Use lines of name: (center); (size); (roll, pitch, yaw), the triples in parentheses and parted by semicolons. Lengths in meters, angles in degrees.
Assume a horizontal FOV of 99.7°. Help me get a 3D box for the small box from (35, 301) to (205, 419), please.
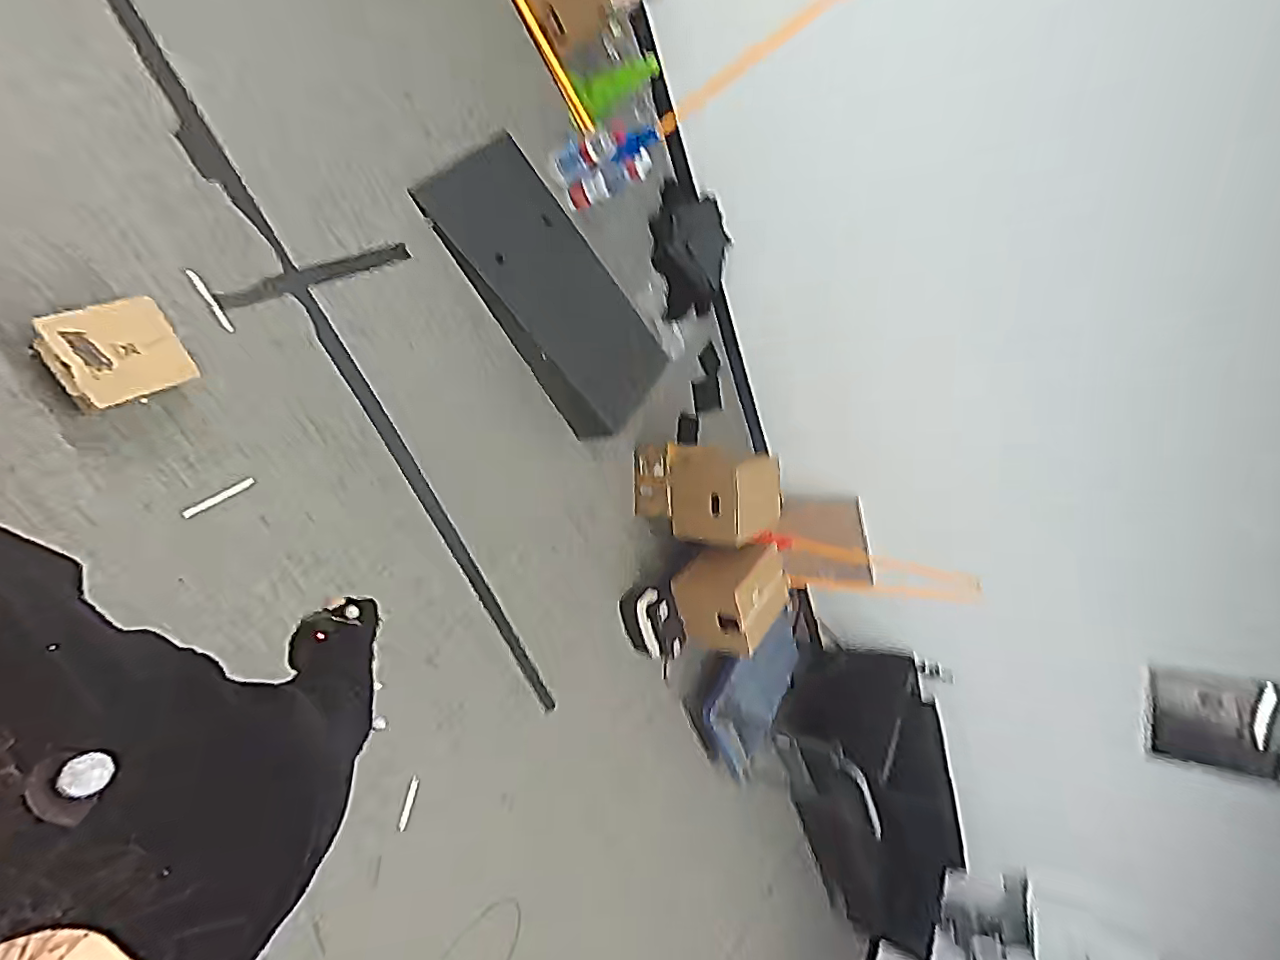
small box: (-0.999, -0.227, 1.041); (0.179, 0.176, 0.168); (-42, 121, -43)
